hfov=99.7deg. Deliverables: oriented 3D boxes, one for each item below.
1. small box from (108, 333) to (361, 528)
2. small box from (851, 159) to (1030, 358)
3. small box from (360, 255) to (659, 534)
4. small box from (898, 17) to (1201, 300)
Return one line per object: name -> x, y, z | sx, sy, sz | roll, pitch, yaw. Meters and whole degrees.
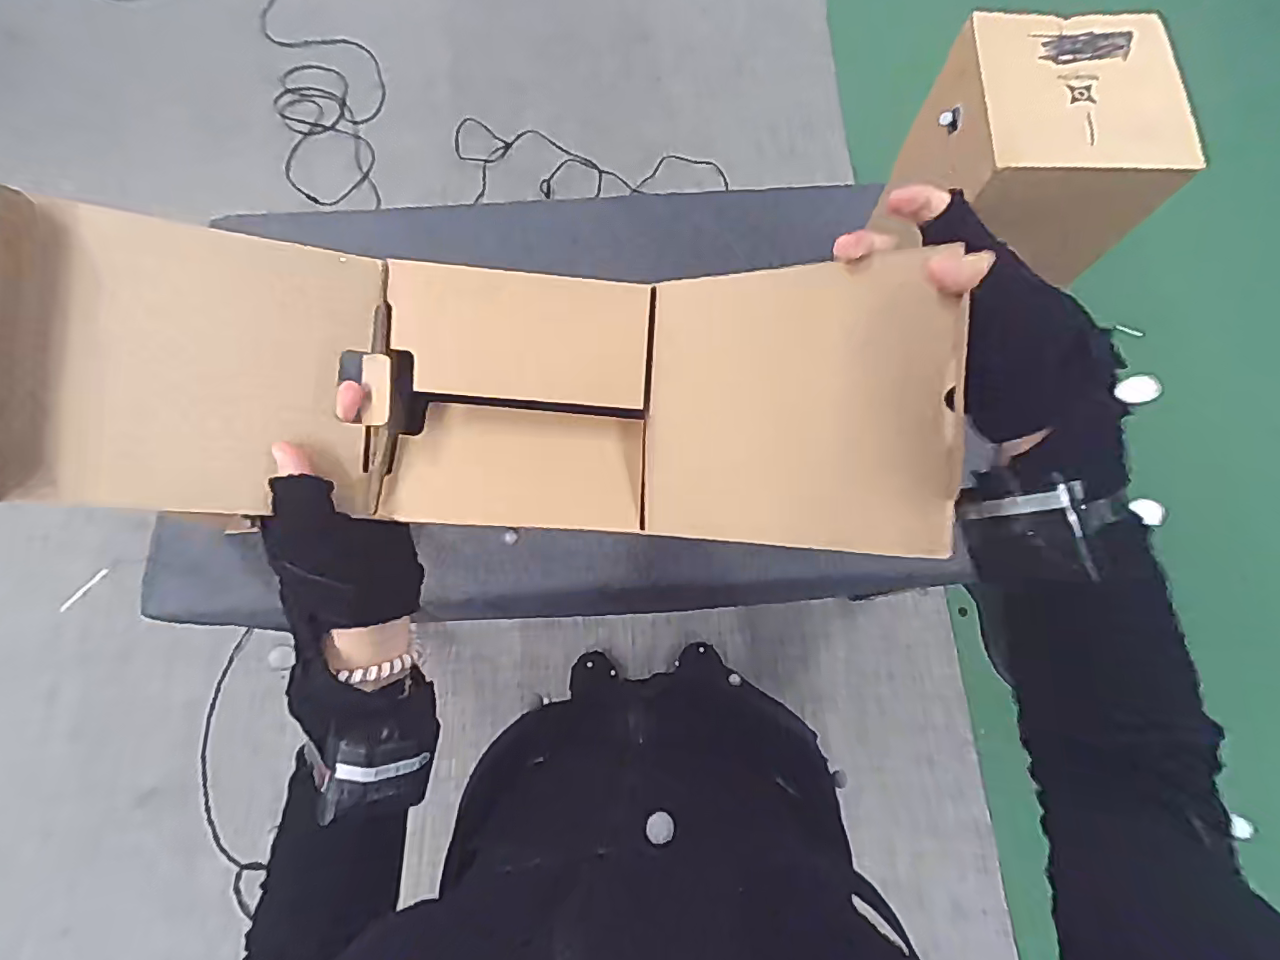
small box -> -0.454, -0.050, 0.641 | 0.168, 0.176, 0.179 | -5, 73, -1
small box -> 0.387, -0.275, 0.697 | 0.179, 0.176, 0.168 | 9, 74, 4
small box -> -0.089, -0.051, 0.420 | 0.179, 0.176, 0.168 | 4, 89, -8
small box -> 0.374, -0.305, 0.535 | 0.168, 0.176, 0.179 | 2, 74, 3
